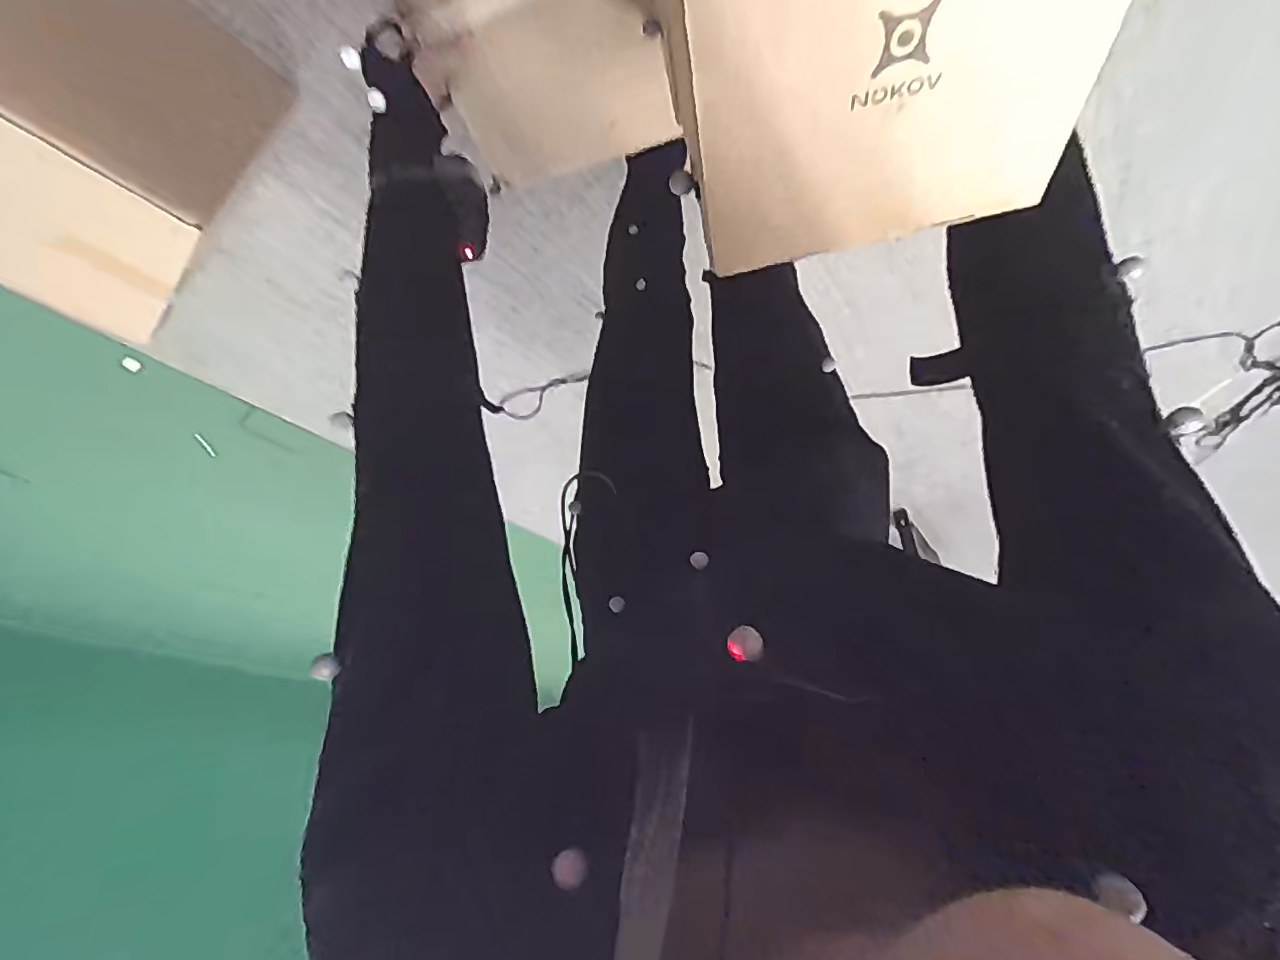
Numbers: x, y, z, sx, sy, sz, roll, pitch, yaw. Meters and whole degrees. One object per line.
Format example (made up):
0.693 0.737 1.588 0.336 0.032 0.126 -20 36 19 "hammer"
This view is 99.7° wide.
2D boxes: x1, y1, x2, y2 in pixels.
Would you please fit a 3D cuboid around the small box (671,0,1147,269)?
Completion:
0.099 -0.237 0.246 0.168 0.176 0.179 -10 149 9 "small box"
